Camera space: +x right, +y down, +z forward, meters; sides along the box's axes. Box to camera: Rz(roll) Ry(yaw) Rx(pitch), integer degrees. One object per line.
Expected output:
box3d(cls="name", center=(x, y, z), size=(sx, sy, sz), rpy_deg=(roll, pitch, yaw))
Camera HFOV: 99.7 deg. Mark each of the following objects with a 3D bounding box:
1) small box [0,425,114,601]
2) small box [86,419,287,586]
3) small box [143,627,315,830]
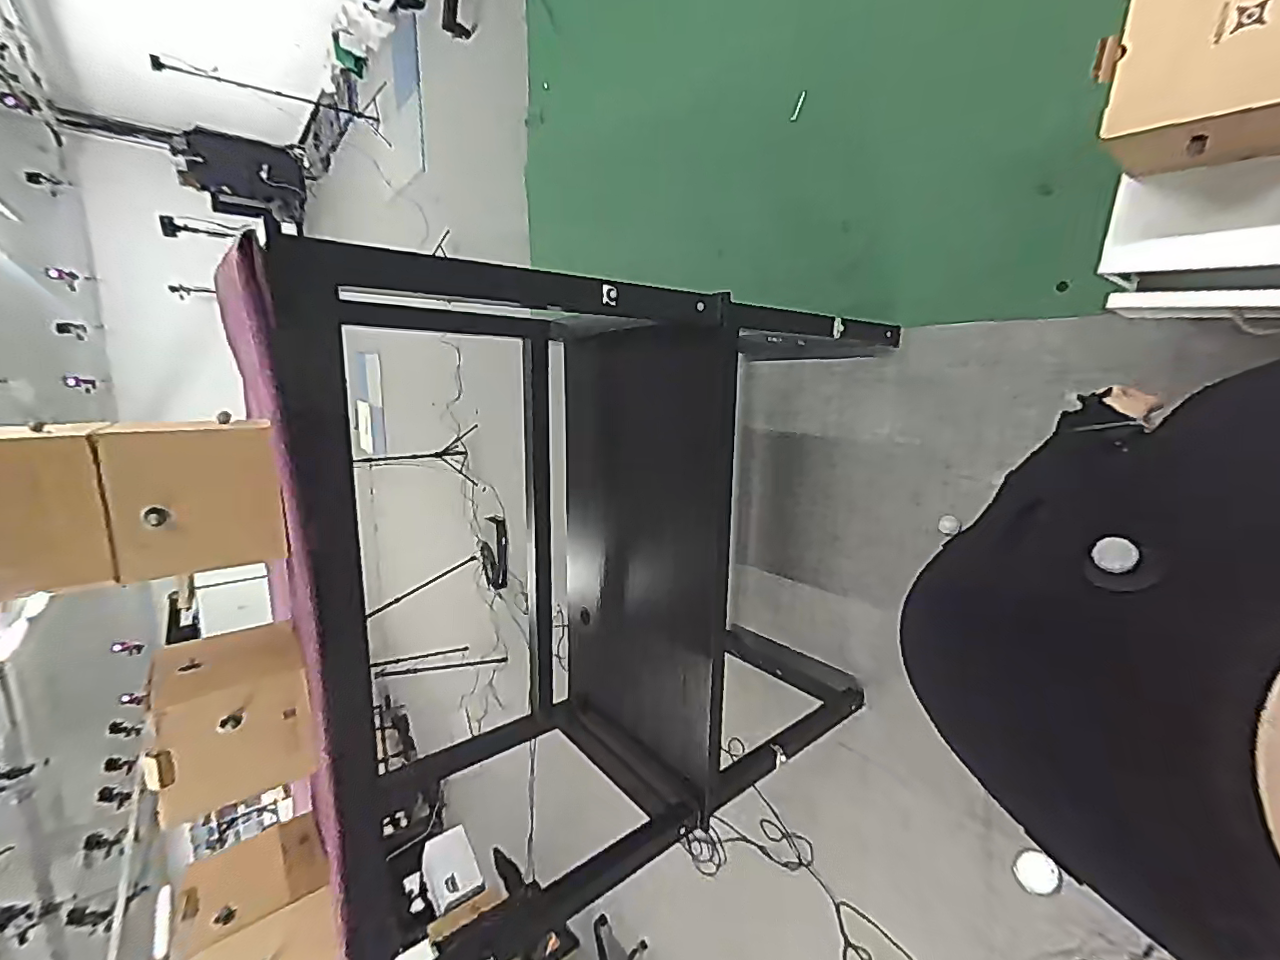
box3d(cls="small box", center=(-0.701, 0.034, 0.610), size=(0.168, 0.176, 0.179), rpy_deg=(14, 107, 52))
box3d(cls="small box", center=(-0.568, 0.016, 0.701), size=(0.168, 0.176, 0.179), rpy_deg=(13, 107, 52))
box3d(cls="small box", center=(-0.561, 0.324, 0.752), size=(0.179, 0.176, 0.168), rpy_deg=(16, 107, 50))
